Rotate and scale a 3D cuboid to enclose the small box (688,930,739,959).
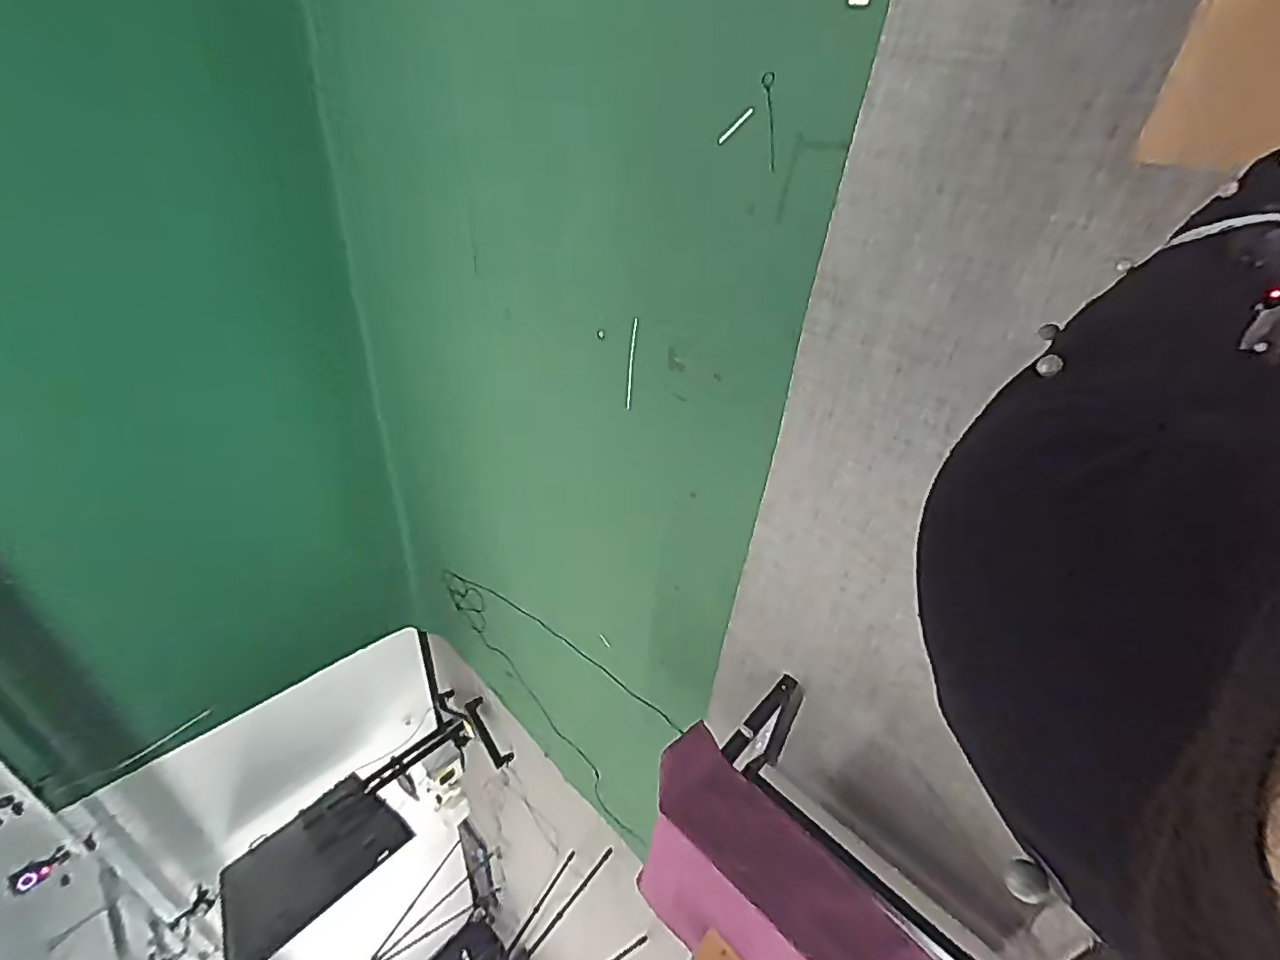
[{"bbox_3d":[0.208,1.476,1.581,0.168,0.176,0.179,34,132,30],"label":"small box"}]
